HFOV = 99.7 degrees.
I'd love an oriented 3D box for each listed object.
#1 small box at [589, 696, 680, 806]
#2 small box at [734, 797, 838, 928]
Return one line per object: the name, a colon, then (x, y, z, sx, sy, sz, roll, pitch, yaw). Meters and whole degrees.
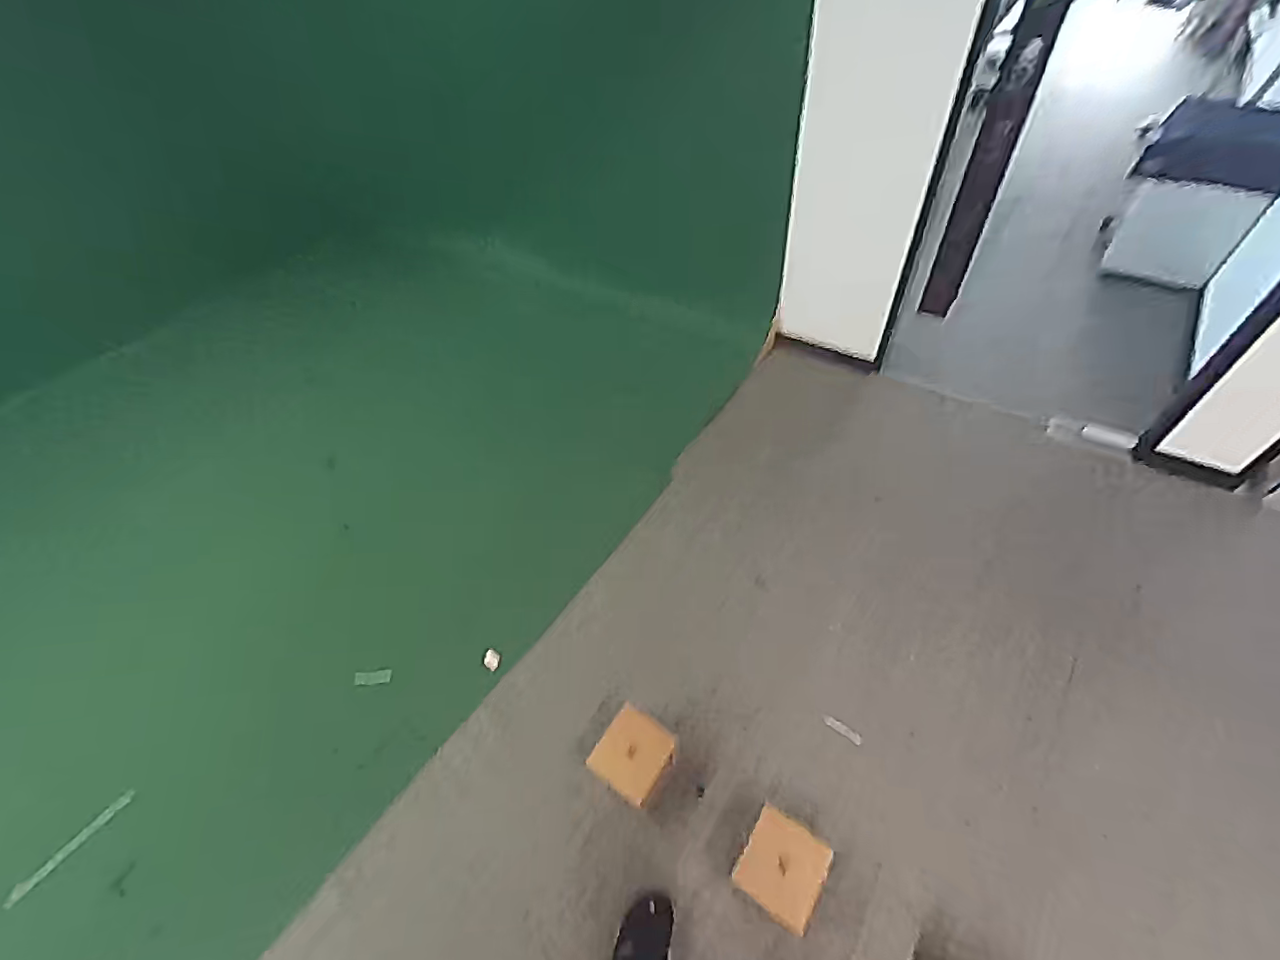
small box: (-0.005, 0.700, 1.388, 0.168, 0.176, 0.179, 26, 57, 25)
small box: (0.321, 0.860, 1.220, 0.168, 0.176, 0.179, 26, 59, 26)
